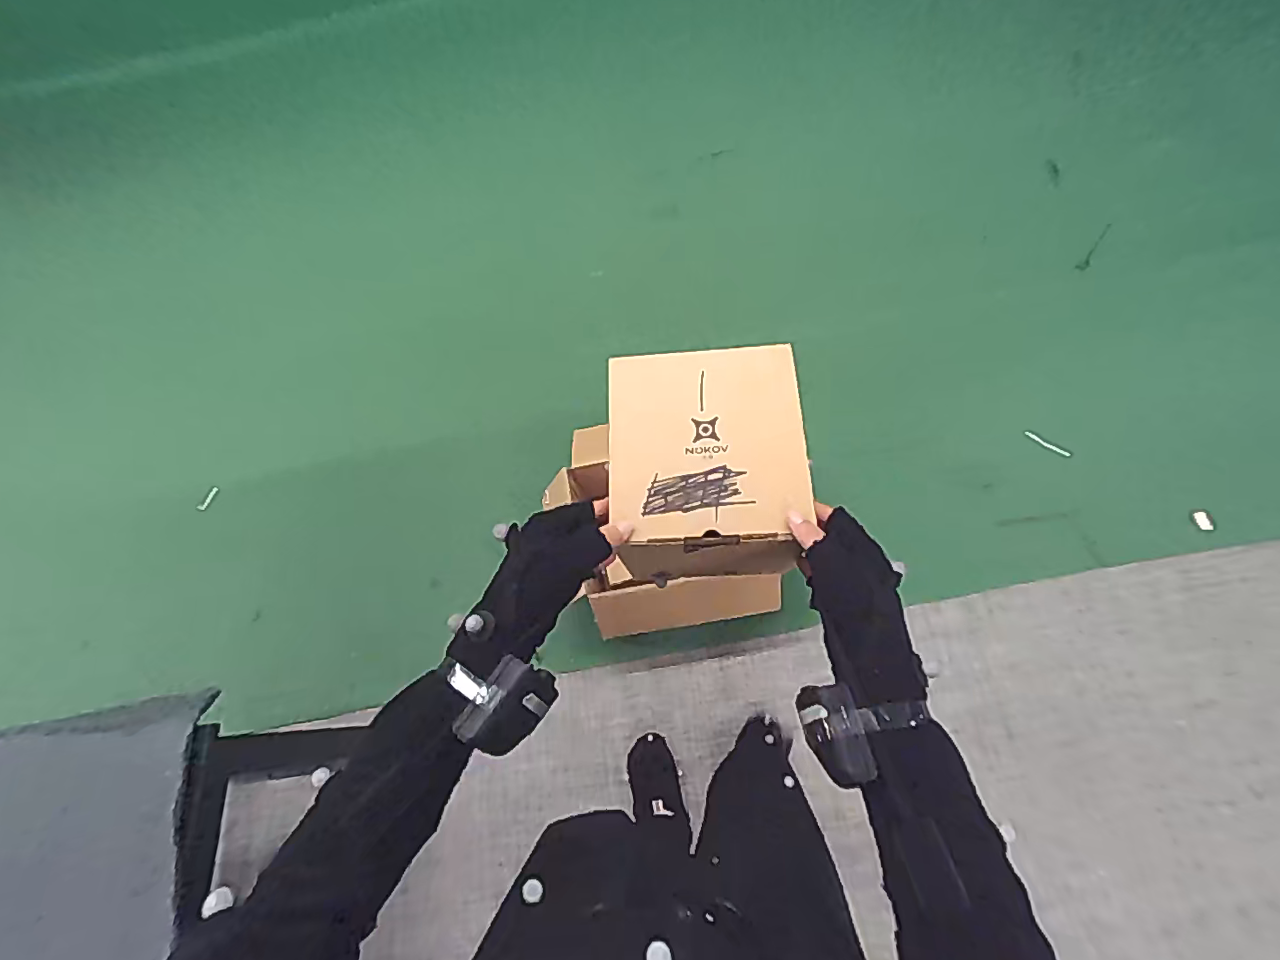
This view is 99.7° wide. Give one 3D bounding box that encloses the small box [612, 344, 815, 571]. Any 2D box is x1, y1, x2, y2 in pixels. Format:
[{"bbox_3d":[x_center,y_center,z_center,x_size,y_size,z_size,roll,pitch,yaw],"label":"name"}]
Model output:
[{"bbox_3d":[0.067,-0.008,0.534,0.168,0.176,0.179,-4,69,5],"label":"small box"}]
